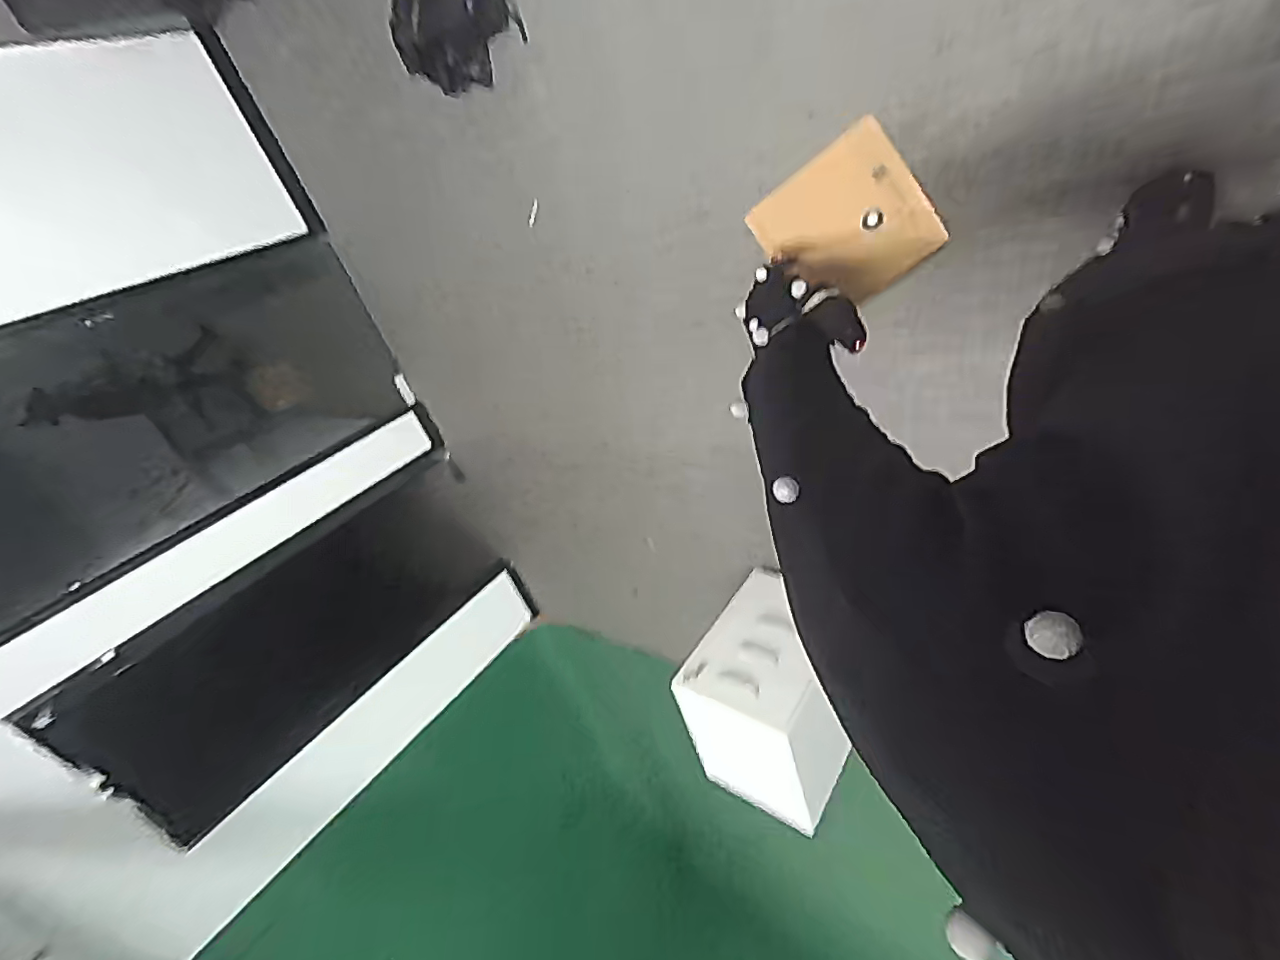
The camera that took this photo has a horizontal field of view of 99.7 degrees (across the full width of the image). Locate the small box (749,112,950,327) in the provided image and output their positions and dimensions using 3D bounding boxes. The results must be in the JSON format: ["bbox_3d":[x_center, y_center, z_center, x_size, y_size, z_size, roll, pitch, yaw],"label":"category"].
[{"bbox_3d":[0.265,-0.315,0.690,0.176,0.179,0.168,-33,91,24],"label":"small box"}]
